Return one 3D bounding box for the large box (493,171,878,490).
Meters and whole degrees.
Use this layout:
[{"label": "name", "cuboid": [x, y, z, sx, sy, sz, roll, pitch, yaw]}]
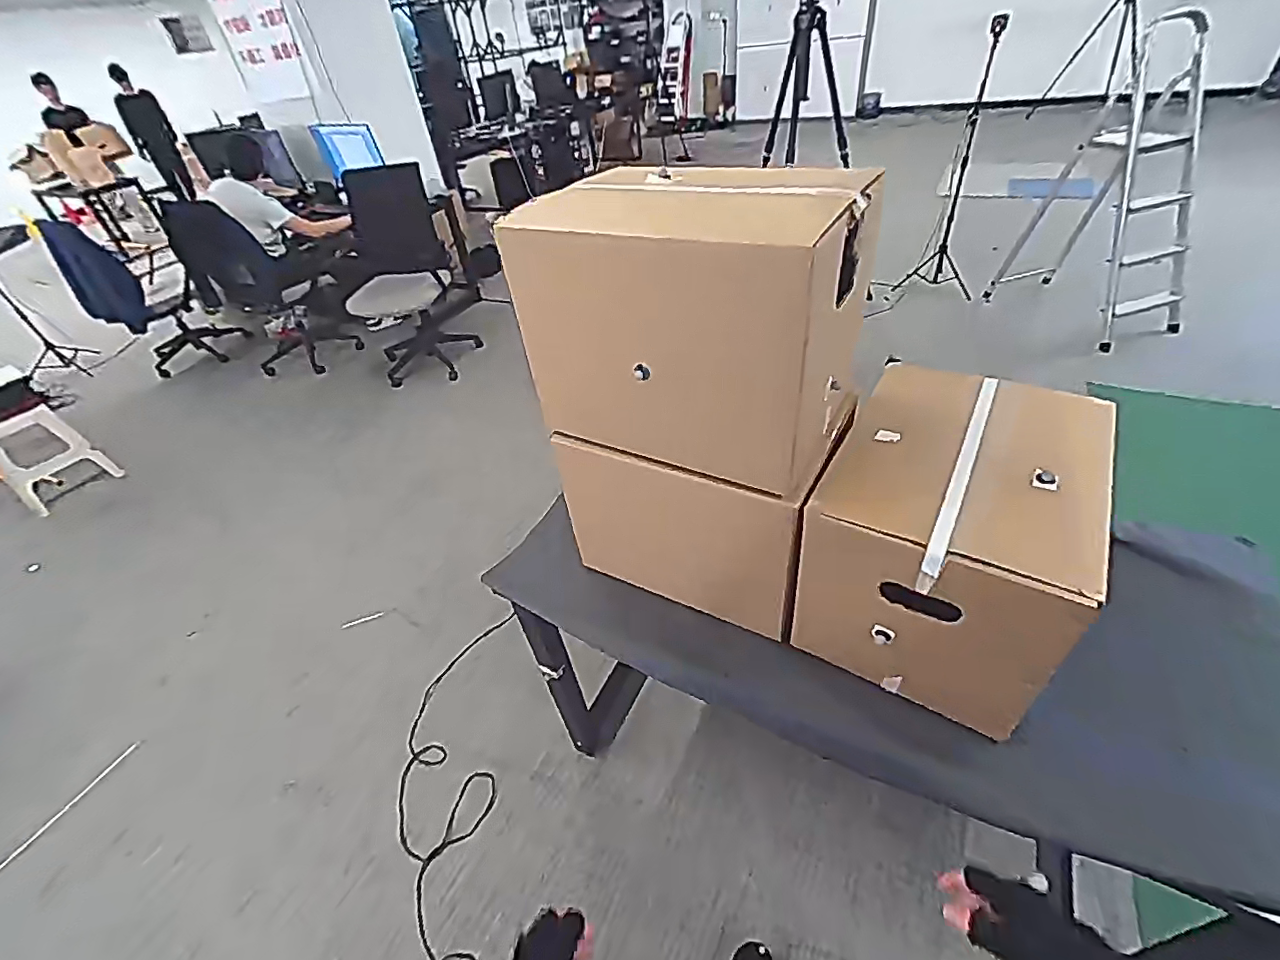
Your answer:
[{"label": "large box", "cuboid": [0.079, -0.231, 0.774, 0.408, 0.320, 0.320, 16, 45, 27]}]
